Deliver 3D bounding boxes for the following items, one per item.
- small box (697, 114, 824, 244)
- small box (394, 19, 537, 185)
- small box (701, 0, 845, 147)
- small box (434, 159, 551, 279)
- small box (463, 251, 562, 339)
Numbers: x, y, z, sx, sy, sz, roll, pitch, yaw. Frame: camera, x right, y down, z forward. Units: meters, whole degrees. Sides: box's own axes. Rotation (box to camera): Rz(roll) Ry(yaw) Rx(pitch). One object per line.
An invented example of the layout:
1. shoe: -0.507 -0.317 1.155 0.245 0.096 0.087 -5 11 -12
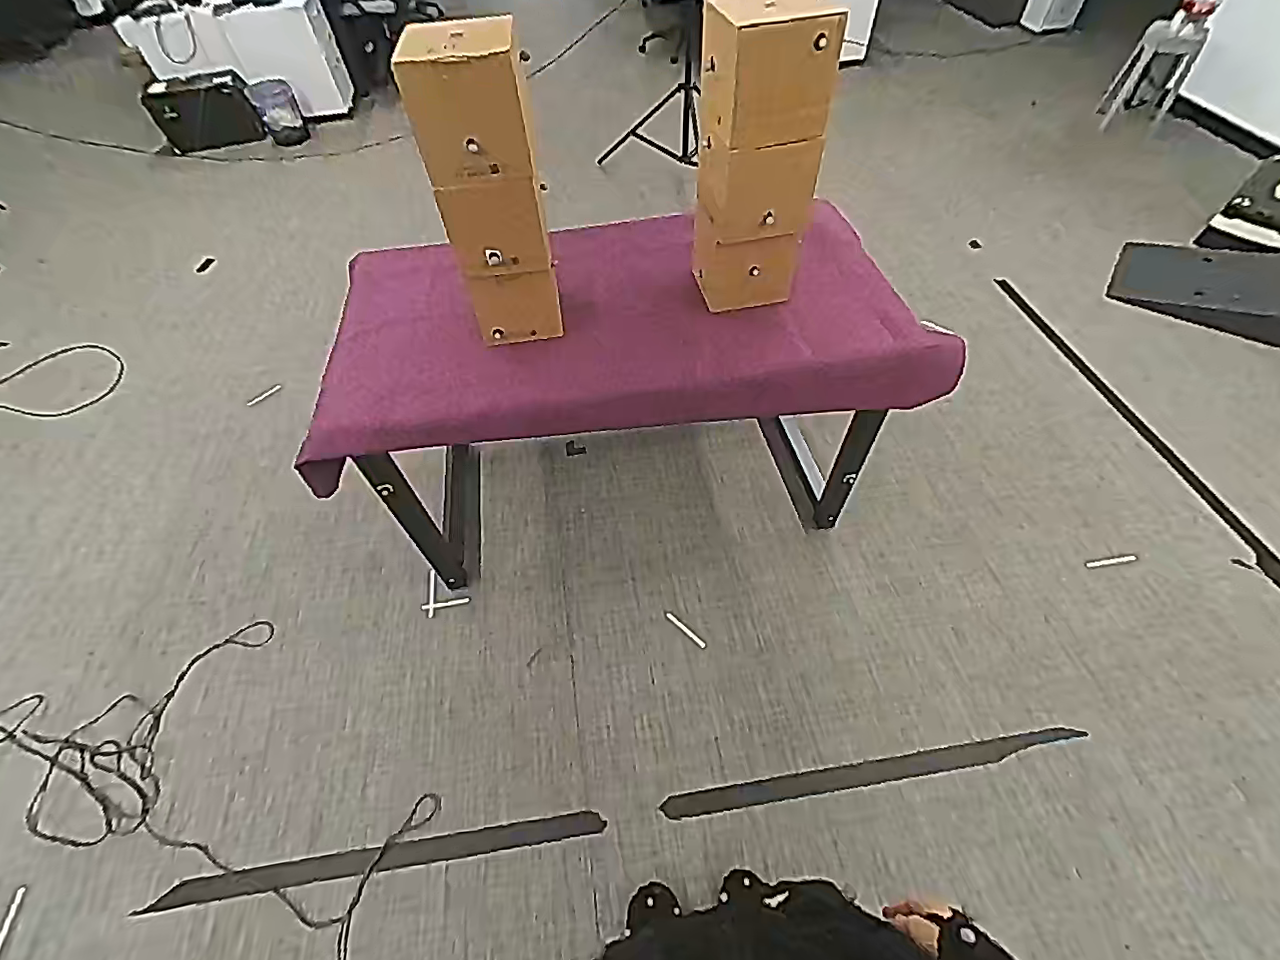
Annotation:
1. small box: 0.216 -0.575 1.022 0.179 0.176 0.168 -13 54 -7
2. small box: -0.262 -0.593 0.853 0.168 0.176 0.179 -7 54 -1
3. small box: 0.207 -0.678 0.896 0.179 0.176 0.168 -13 54 -6
4. small box: -0.260 -0.495 0.986 0.168 0.176 0.179 -9 55 -3
5. small box: -0.259 -0.409 1.124 0.168 0.176 0.179 -9 53 -4
